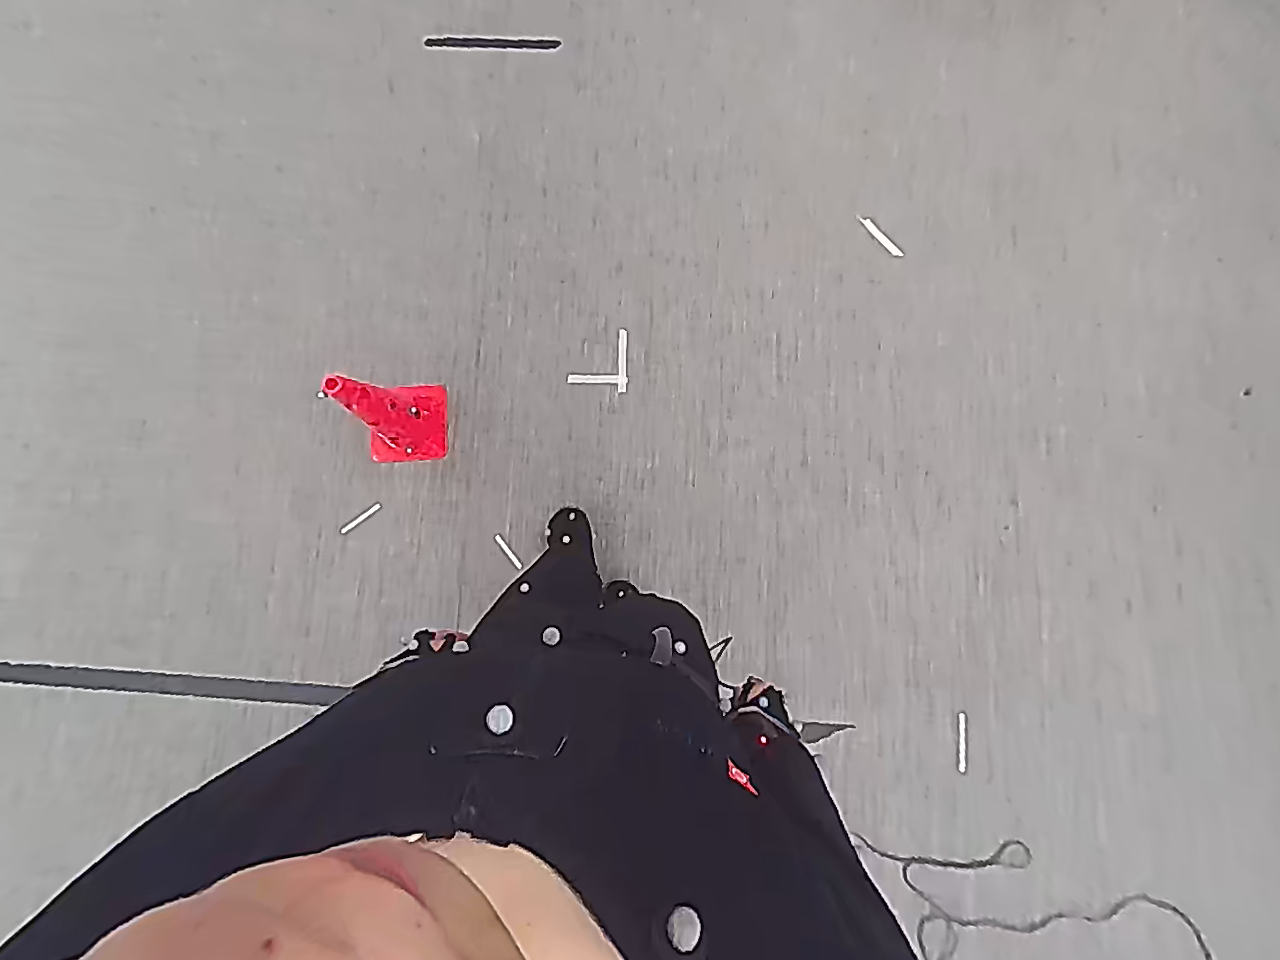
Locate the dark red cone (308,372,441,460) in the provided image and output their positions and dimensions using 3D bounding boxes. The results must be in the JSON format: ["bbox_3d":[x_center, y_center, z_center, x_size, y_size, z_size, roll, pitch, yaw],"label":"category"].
[{"bbox_3d":[-0.608,-0.169,1.210,0.202,0.394,0.201,-4,85,0],"label":"dark red cone"}]
